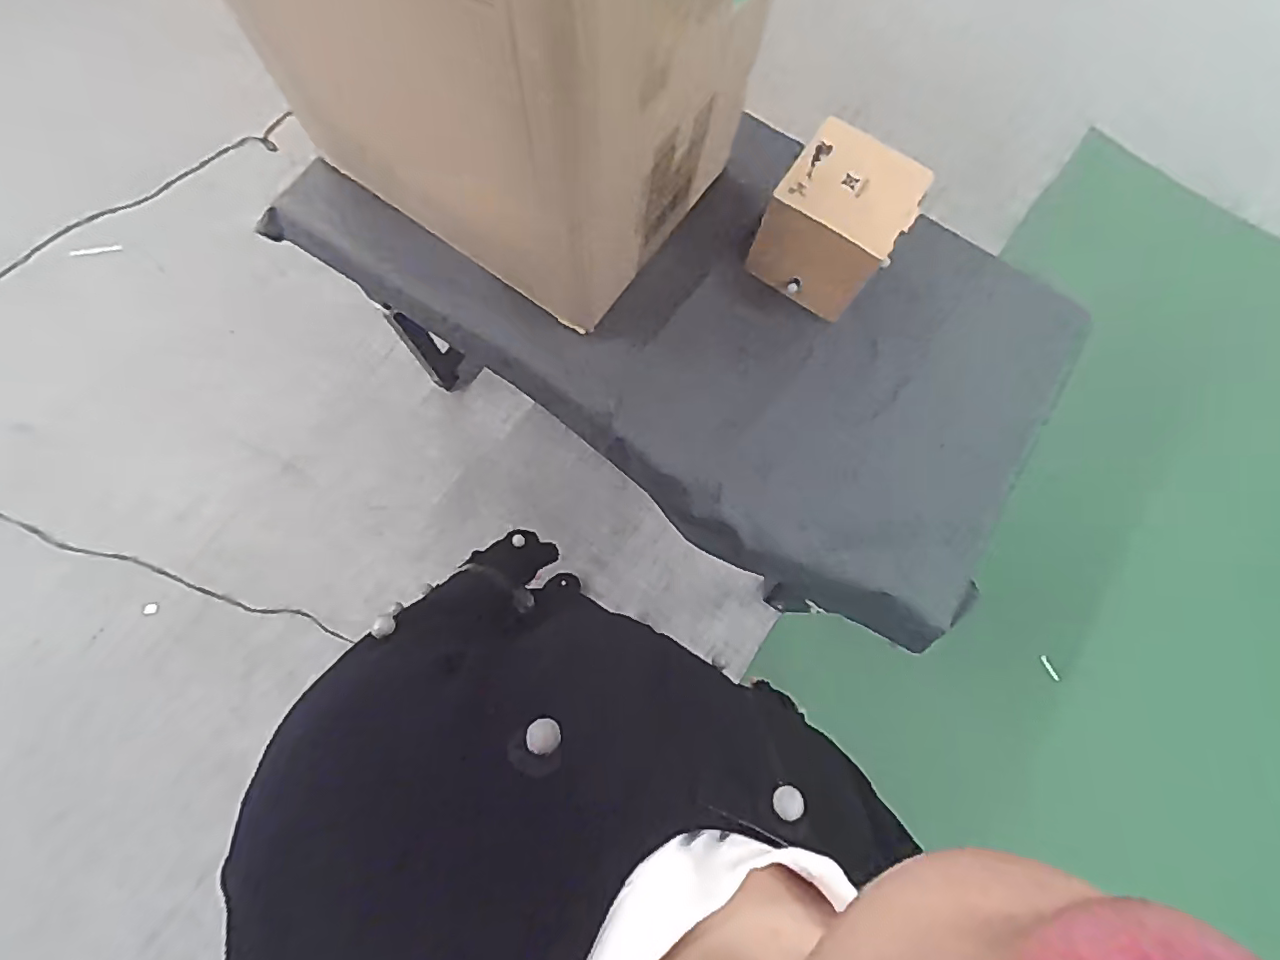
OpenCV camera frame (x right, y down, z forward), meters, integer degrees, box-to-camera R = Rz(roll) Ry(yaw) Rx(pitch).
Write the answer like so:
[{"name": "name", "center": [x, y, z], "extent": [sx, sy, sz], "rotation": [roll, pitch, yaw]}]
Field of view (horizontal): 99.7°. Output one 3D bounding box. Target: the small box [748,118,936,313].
[{"name": "small box", "center": [0.293, -0.383, 0.819], "extent": [0.179, 0.176, 0.168], "rotation": [34, 77, 4]}]
